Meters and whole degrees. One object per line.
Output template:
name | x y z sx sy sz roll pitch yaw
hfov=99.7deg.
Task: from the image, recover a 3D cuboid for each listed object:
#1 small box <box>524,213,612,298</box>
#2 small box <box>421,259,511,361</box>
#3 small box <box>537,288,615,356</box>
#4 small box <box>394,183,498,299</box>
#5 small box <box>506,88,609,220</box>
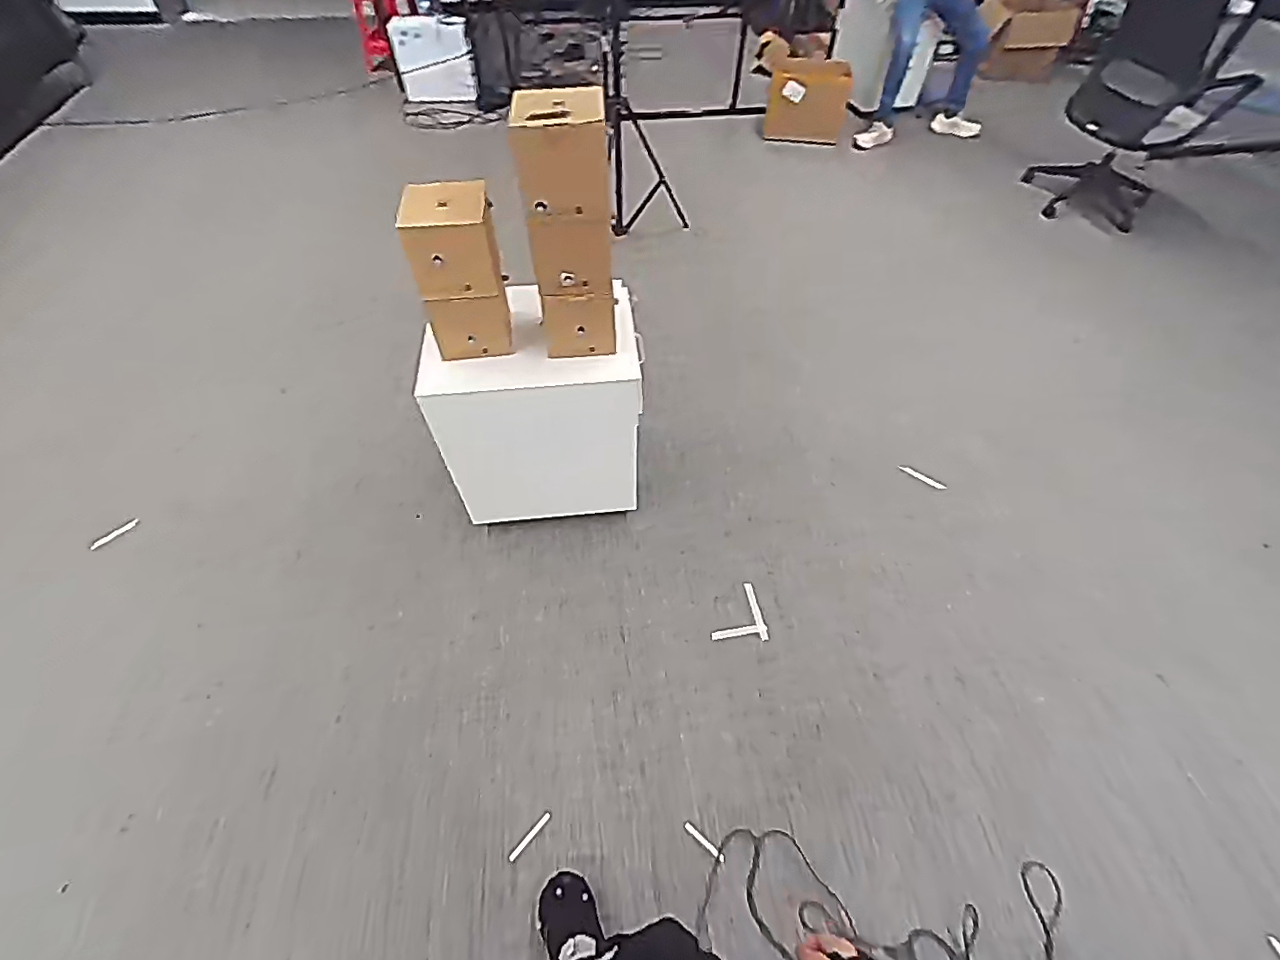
small box | -0.150 -0.516 1.159 0.168 0.176 0.179 -6 54 -3
small box | -0.404 -0.405 1.277 0.168 0.176 0.179 -7 54 -6
small box | -0.149 -0.411 1.286 0.168 0.176 0.179 -5 55 -3
small box | -0.399 -0.500 1.145 0.168 0.176 0.179 -6 53 -6
small box | -0.149 -0.611 1.026 0.168 0.176 0.179 -4 52 -2
